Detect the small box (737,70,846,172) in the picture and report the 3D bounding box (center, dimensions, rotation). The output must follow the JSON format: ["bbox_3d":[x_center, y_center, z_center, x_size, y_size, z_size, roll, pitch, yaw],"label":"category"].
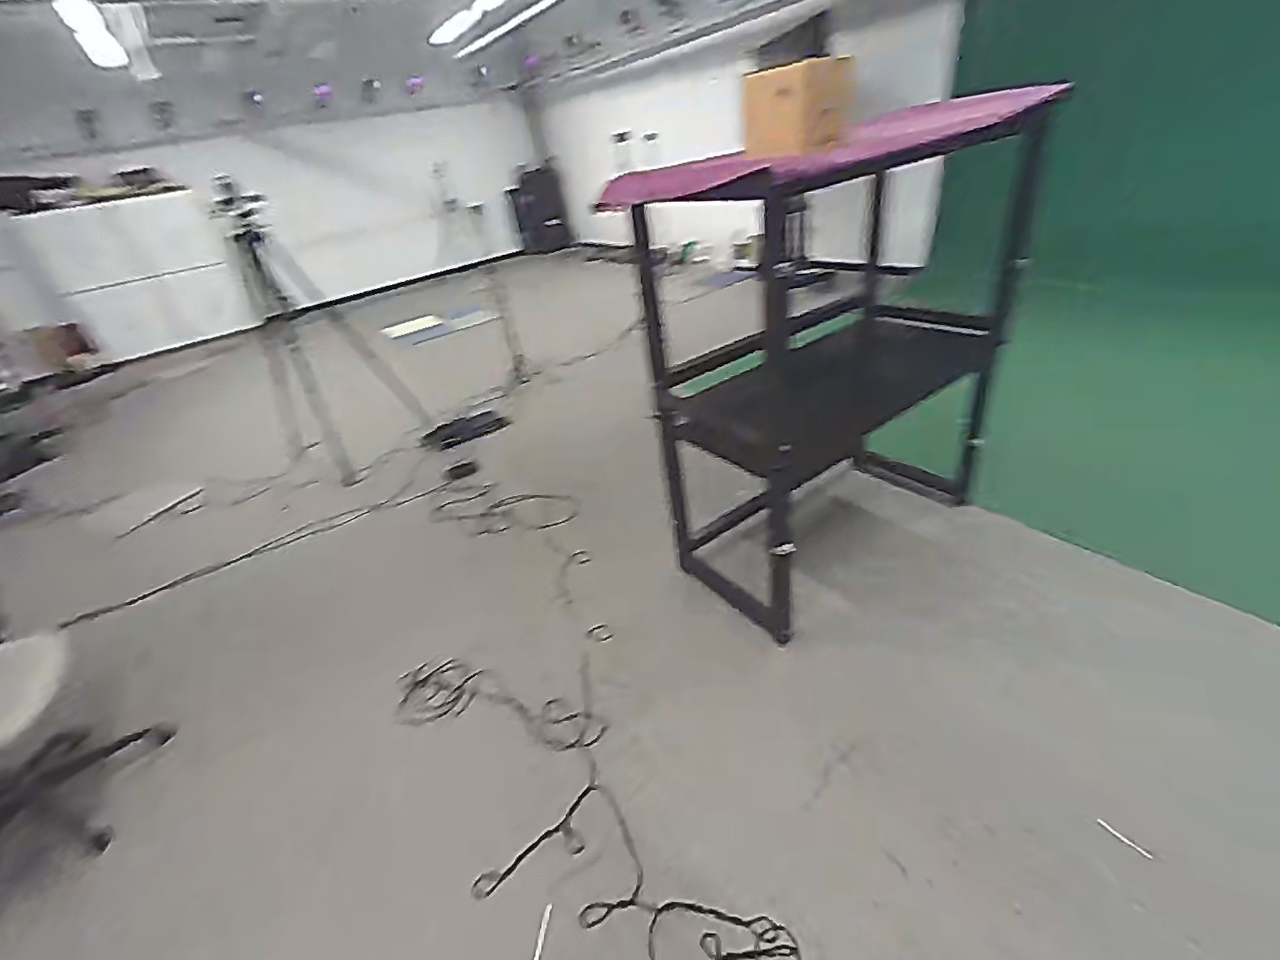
[{"bbox_3d":[0.342,-0.813,1.233,0.168,0.176,0.179,-26,35,-27],"label":"small box"}]
